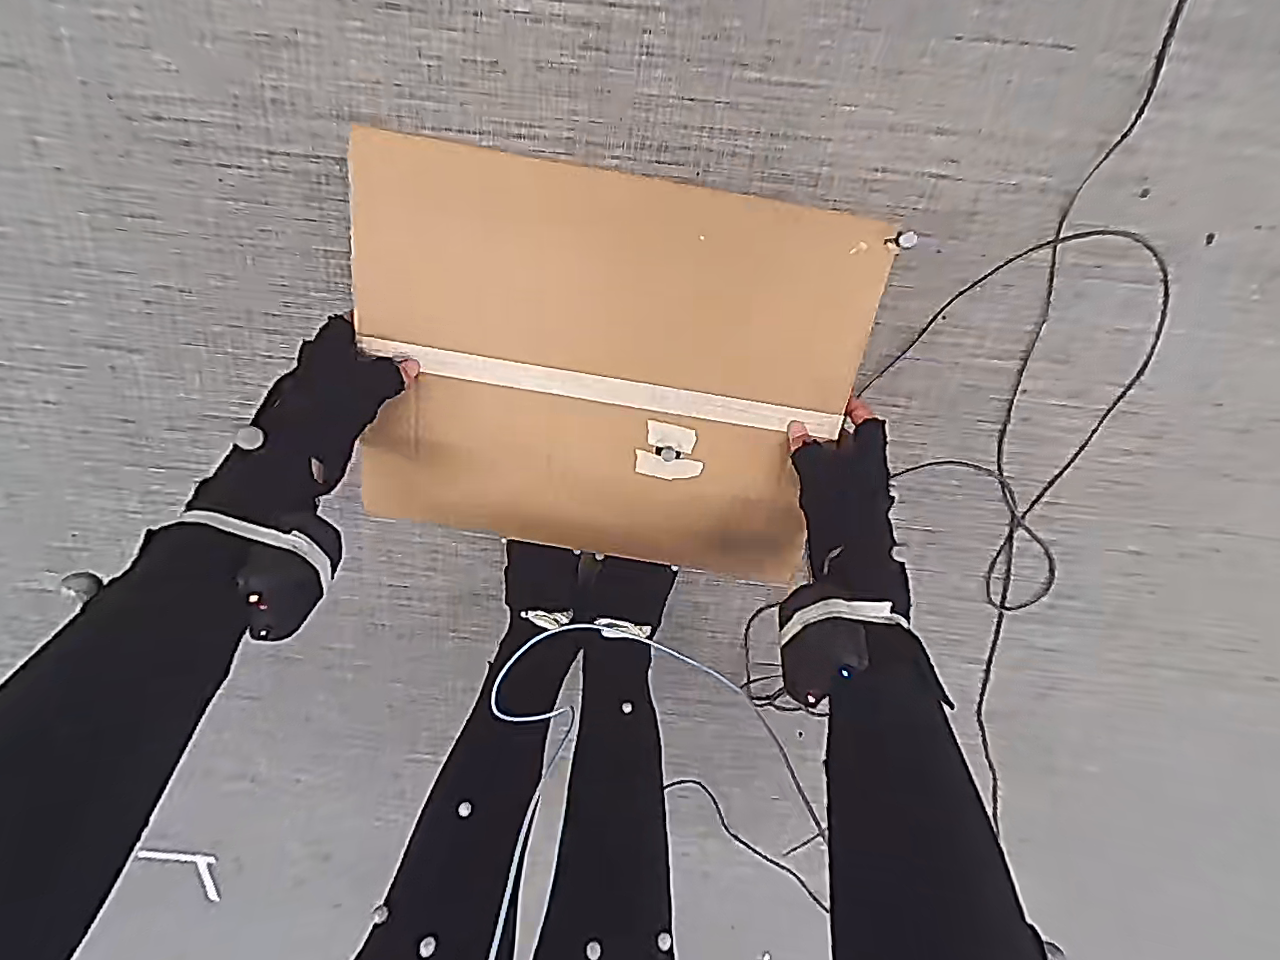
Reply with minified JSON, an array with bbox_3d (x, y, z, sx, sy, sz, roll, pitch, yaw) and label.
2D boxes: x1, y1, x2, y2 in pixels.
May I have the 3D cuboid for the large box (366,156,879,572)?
[{"bbox_3d":[-0.029,-0.131,0.603,0.408,0.320,0.320,9,112,-2],"label":"large box"}]
